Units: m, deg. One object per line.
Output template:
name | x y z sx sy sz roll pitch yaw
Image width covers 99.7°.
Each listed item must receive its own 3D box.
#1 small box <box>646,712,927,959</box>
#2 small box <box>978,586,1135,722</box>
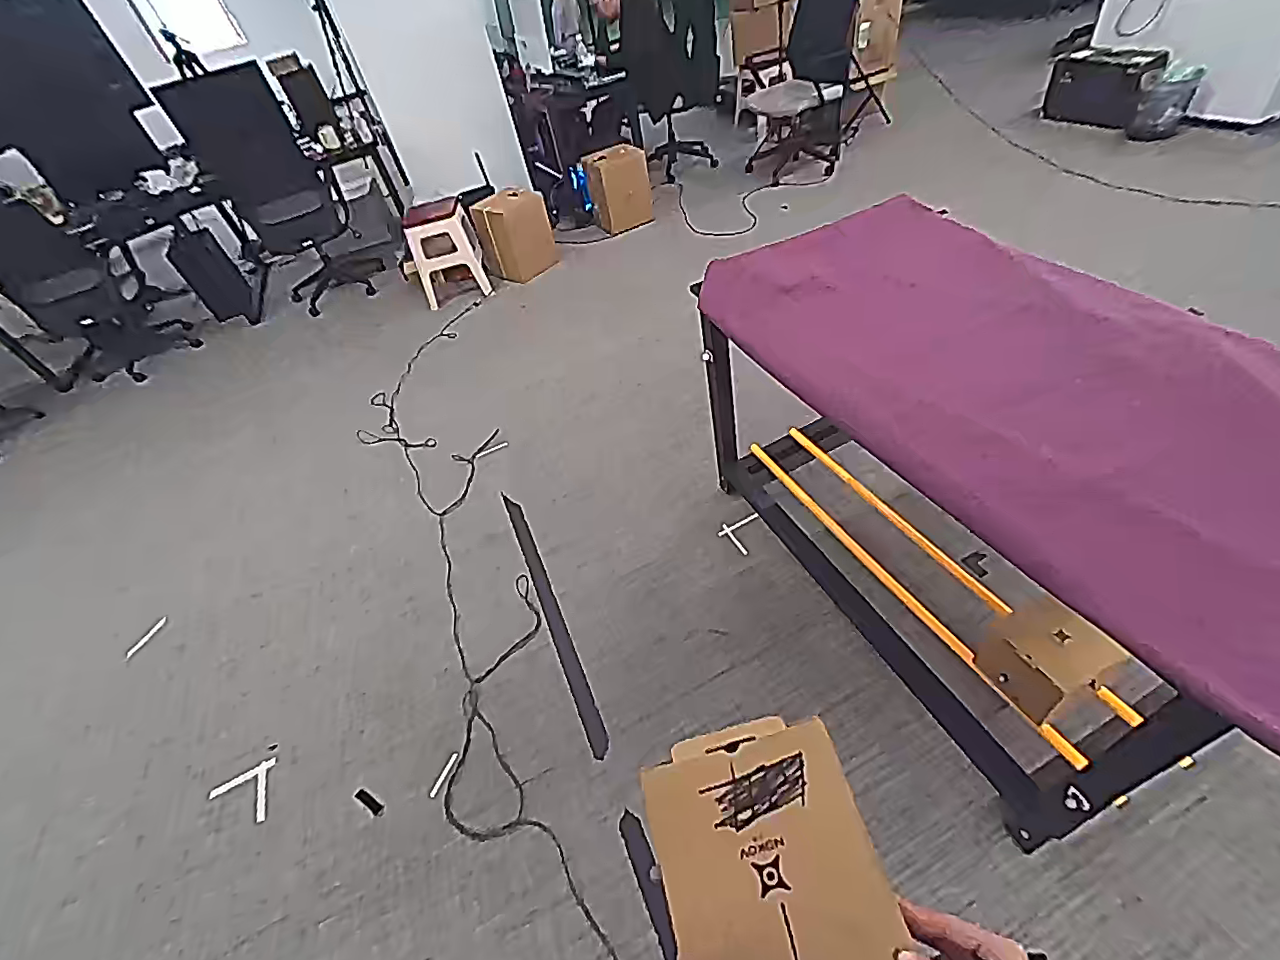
small box | 0.109 0.331 0.479 0.168 0.176 0.179 -16 57 -2
small box | 0.835 0.357 1.107 0.179 0.176 0.168 -26 45 -9
